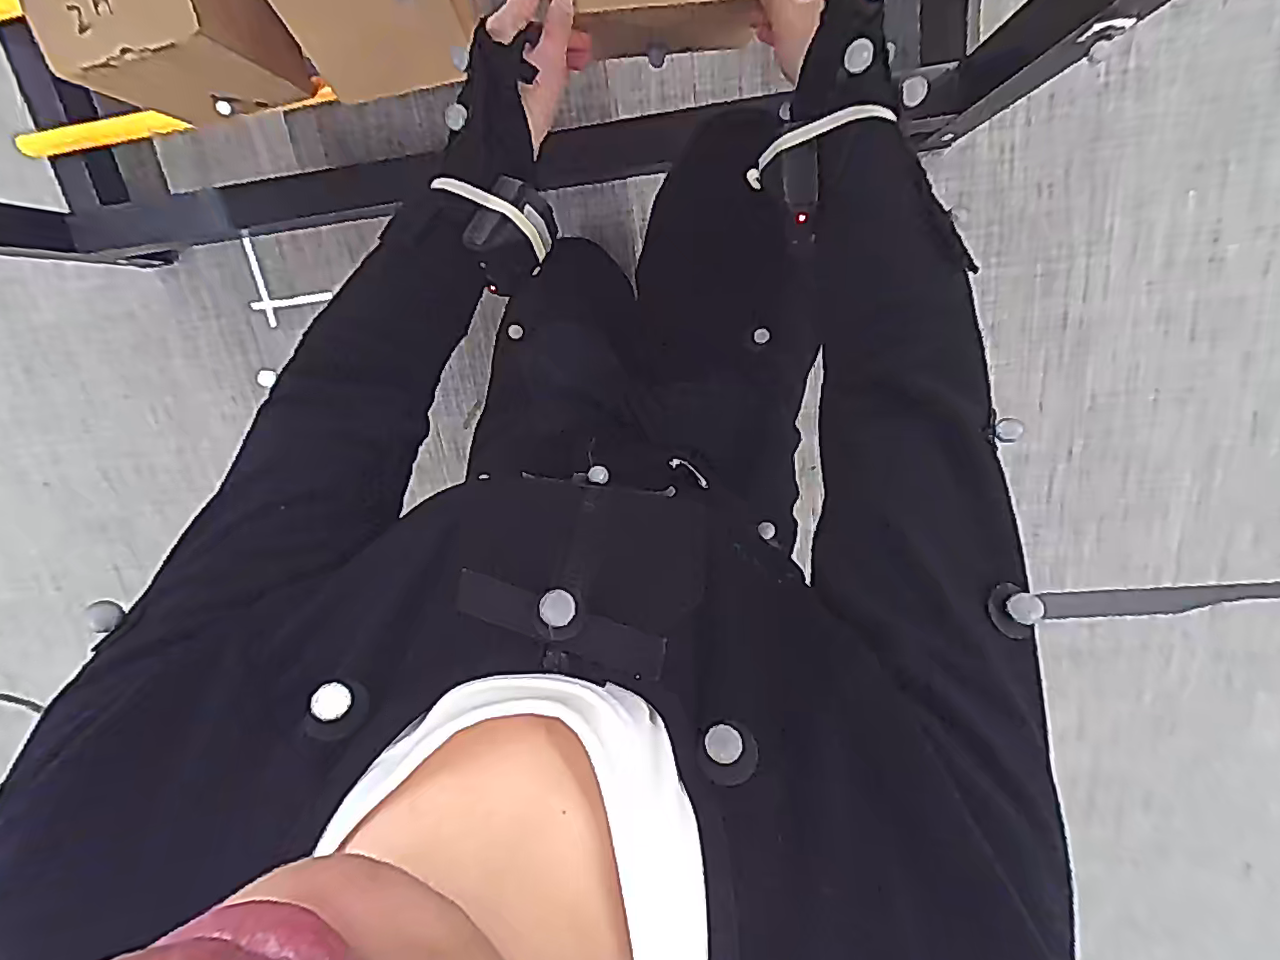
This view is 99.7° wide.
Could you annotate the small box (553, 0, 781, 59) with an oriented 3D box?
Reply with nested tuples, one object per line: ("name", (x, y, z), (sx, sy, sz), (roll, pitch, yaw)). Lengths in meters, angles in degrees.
("small box", (0.016, -0.443, 0.402), (0.168, 0.176, 0.179), (-2, 119, 3))

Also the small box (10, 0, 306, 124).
("small box", (-0.490, -0.501, 0.551), (0.168, 0.176, 0.179), (-8, 108, 7))
